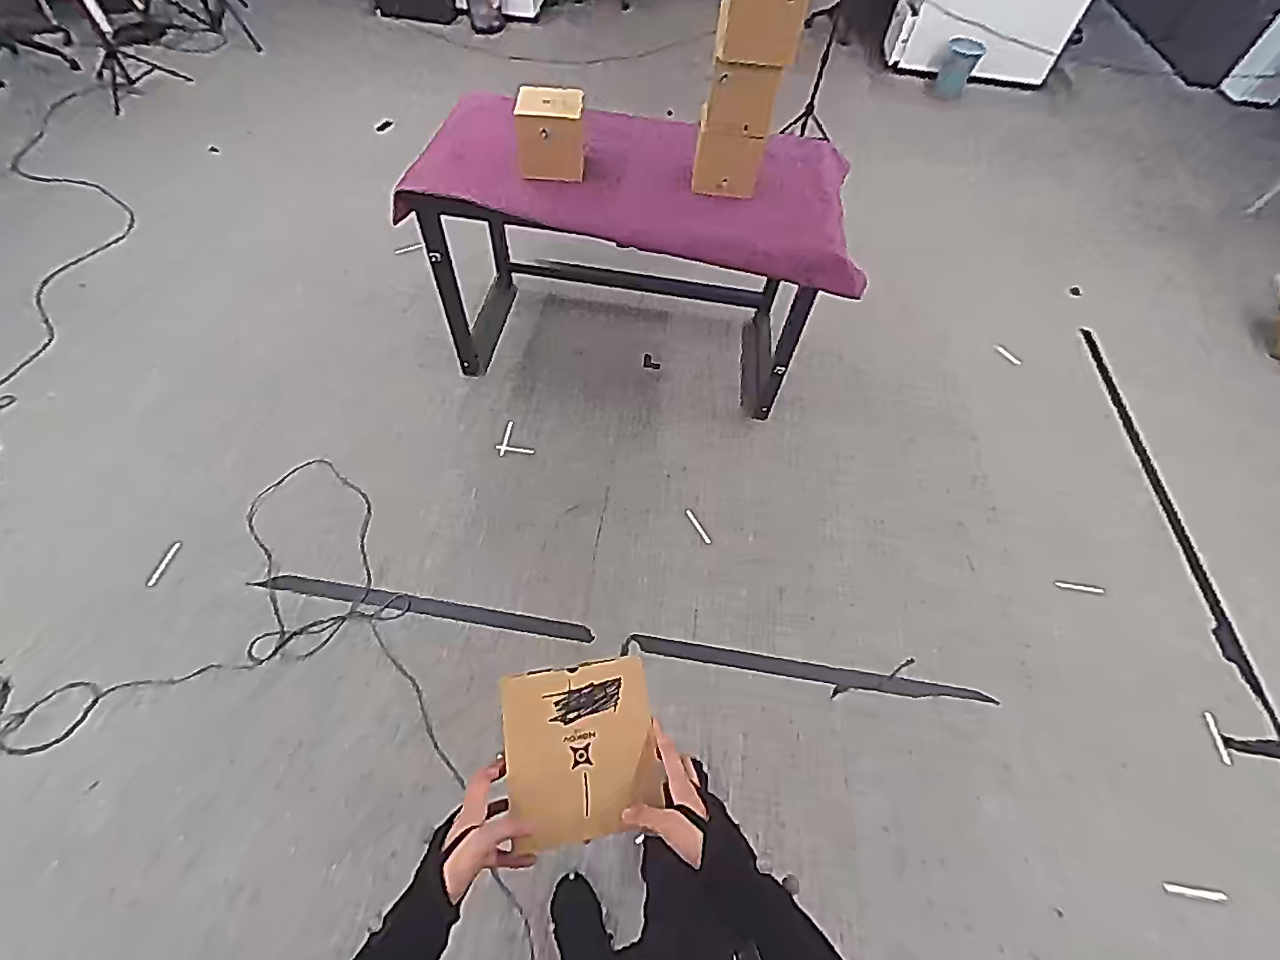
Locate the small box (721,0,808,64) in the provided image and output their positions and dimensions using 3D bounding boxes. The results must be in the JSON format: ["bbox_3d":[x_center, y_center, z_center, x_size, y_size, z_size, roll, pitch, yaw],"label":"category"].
[{"bbox_3d":[0.283,-1.088,1.240,0.179,0.176,0.168,4,57,-2],"label":"small box"}]

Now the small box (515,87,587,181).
[{"bbox_3d":[-0.240,-0.962,1.509,0.179,0.176,0.168,2,57,-3],"label":"small box"}]

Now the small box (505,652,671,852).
[{"bbox_3d":[-0.069,0.323,0.657,0.168,0.176,0.179,-7,64,-9],"label":"small box"}]

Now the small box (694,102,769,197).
[{"bbox_3d":[0.254,-0.928,1.526,0.179,0.176,0.168,6,57,-1],"label":"small box"}]
